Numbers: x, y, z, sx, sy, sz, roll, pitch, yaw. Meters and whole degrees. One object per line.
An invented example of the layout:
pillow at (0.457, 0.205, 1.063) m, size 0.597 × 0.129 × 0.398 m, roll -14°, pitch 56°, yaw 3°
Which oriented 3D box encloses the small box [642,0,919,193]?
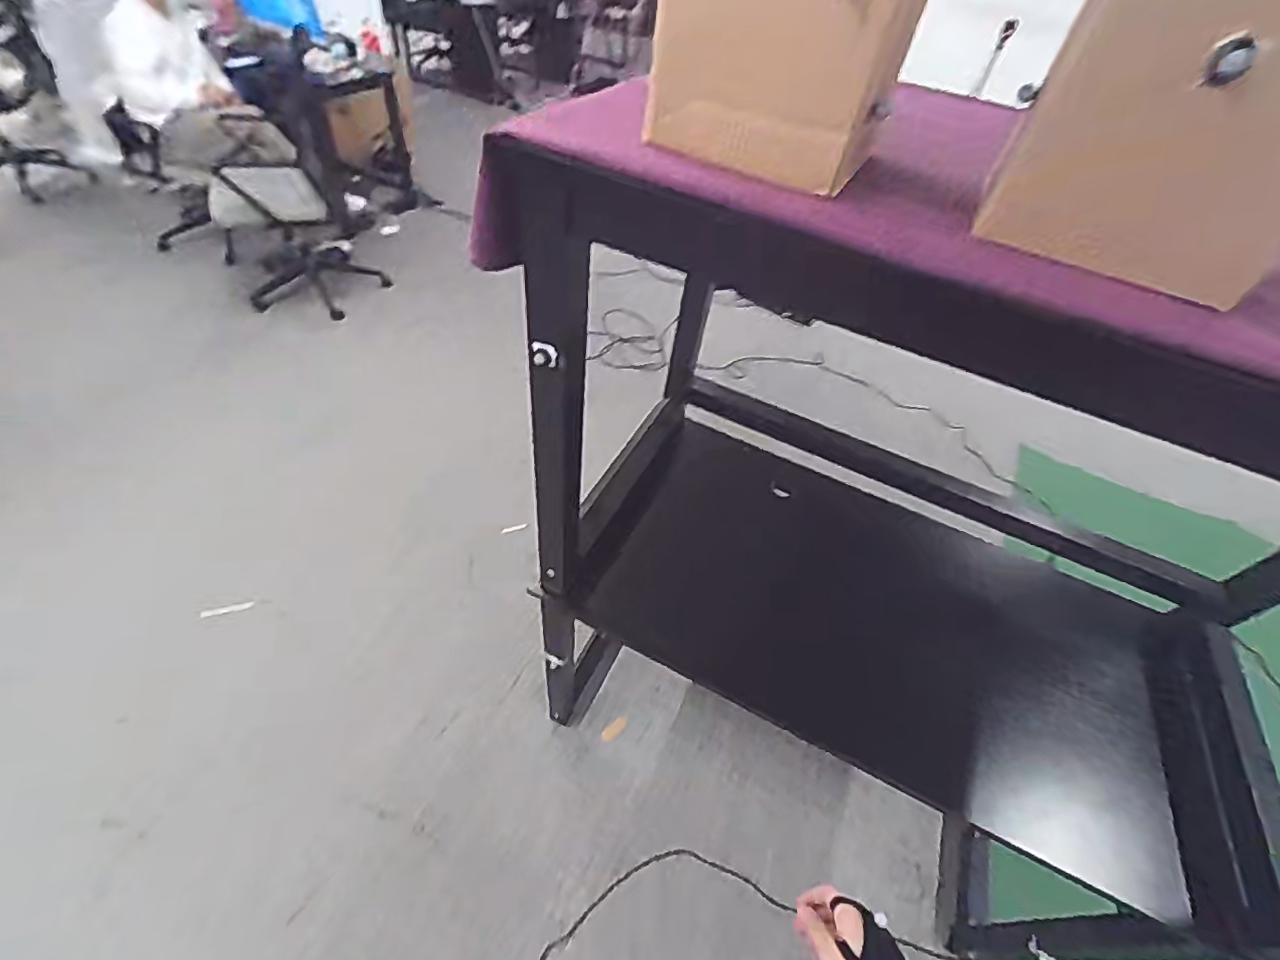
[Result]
small box at (0.116, -0.362, 0.447) m, size 0.179 × 0.176 × 0.168 m, roll 25°, pitch 50°, yaw 14°

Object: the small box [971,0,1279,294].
small box at (0.369, -0.257, 0.384) m, size 0.179 × 0.176 × 0.168 m, roll 25°, pitch 50°, yaw 15°
